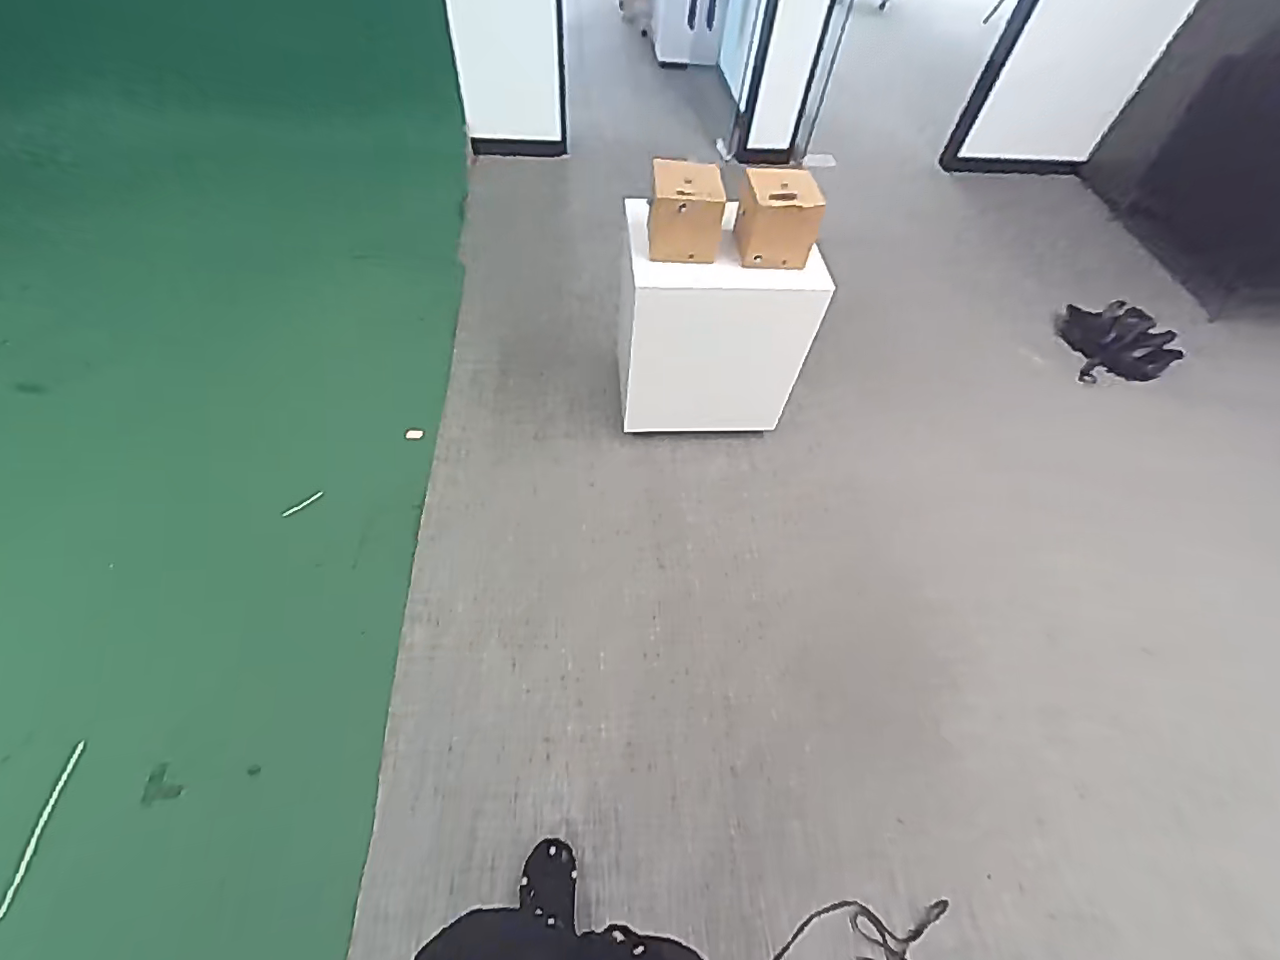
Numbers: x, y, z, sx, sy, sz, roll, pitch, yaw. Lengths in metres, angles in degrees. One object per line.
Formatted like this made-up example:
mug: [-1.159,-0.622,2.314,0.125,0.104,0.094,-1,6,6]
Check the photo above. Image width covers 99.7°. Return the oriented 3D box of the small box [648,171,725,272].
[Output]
small box: [0.111,-0.655,1.372,0.168,0.176,0.179,0,54,-4]

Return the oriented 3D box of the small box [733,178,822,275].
small box: [0.344,-0.646,1.386,0.168,0.176,0.179,-1,54,-5]
